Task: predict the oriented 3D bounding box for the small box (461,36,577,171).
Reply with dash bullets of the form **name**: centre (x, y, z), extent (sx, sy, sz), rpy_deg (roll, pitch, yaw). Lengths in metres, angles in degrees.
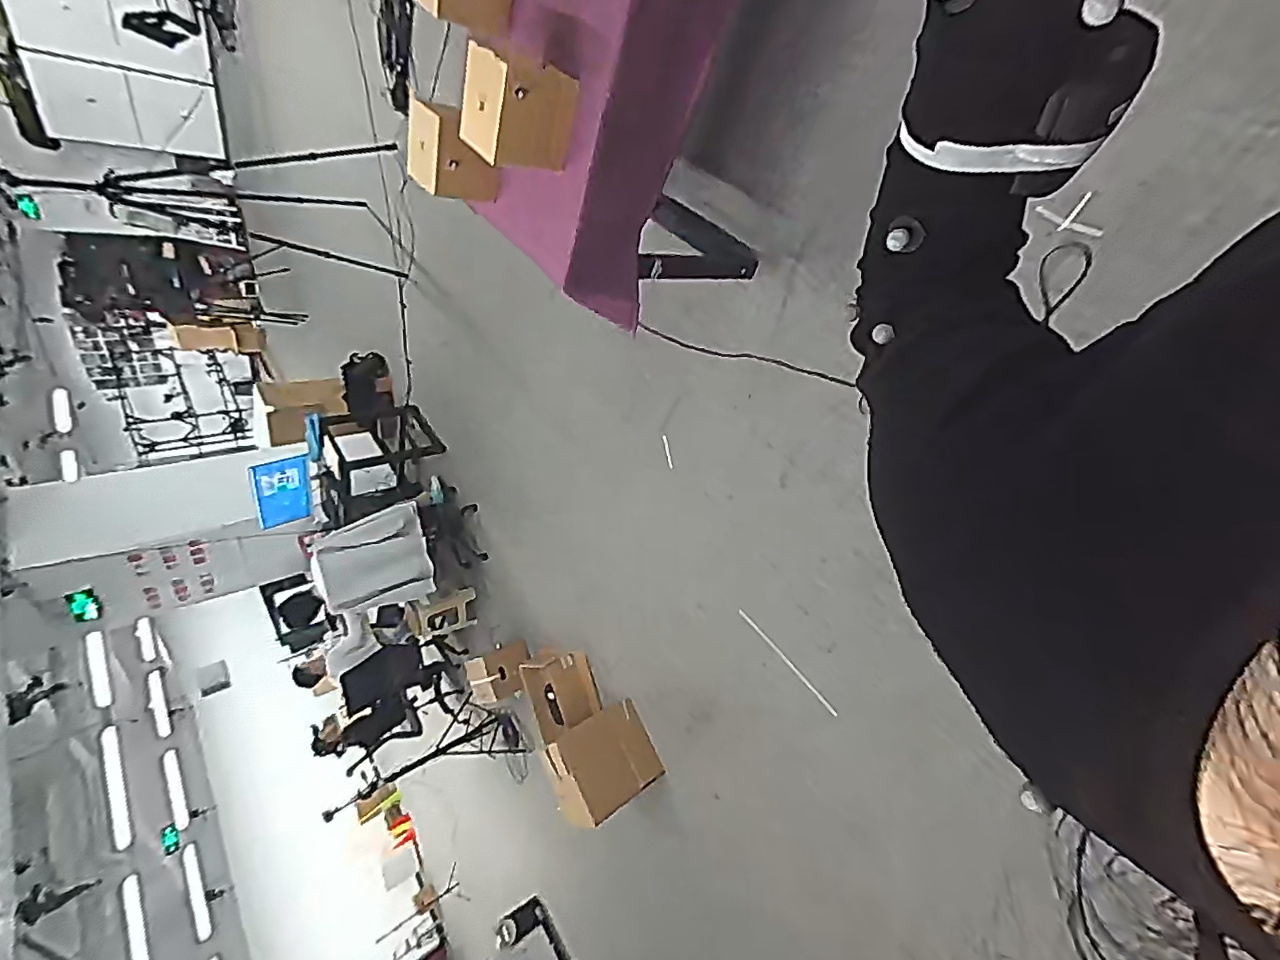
- **small box**: centre (-0.254, -0.775, 1.130), extent (0.168, 0.176, 0.179), rpy_deg (49, 134, 27)
